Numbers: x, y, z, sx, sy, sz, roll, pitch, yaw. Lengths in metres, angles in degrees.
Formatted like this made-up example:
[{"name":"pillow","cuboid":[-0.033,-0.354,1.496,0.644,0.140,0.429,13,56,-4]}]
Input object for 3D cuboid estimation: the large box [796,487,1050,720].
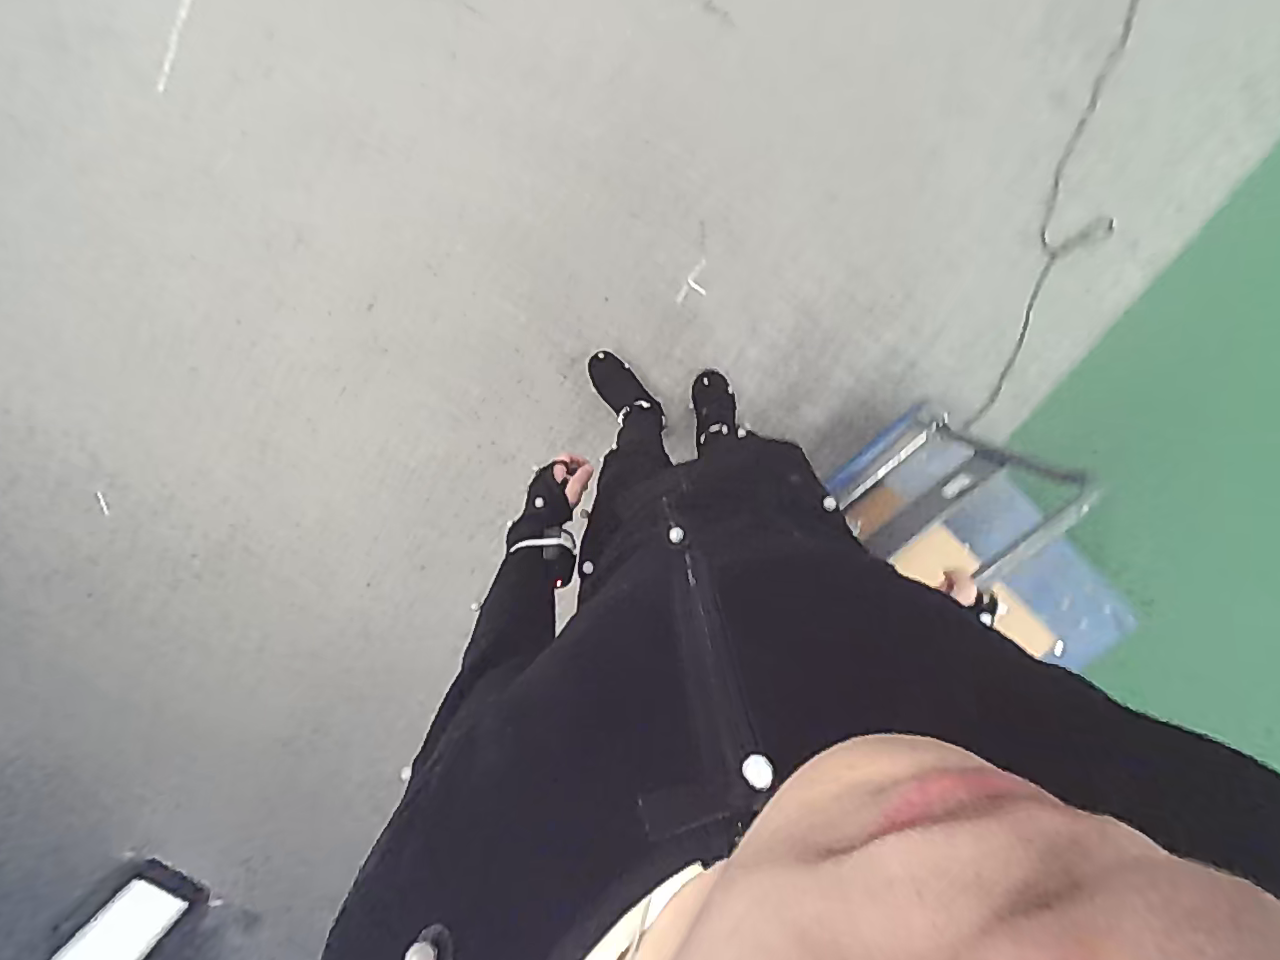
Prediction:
[{"name":"large box","cuboid":[0.659,0.284,1.332,0.408,0.320,0.320,43,105,-7]}]
